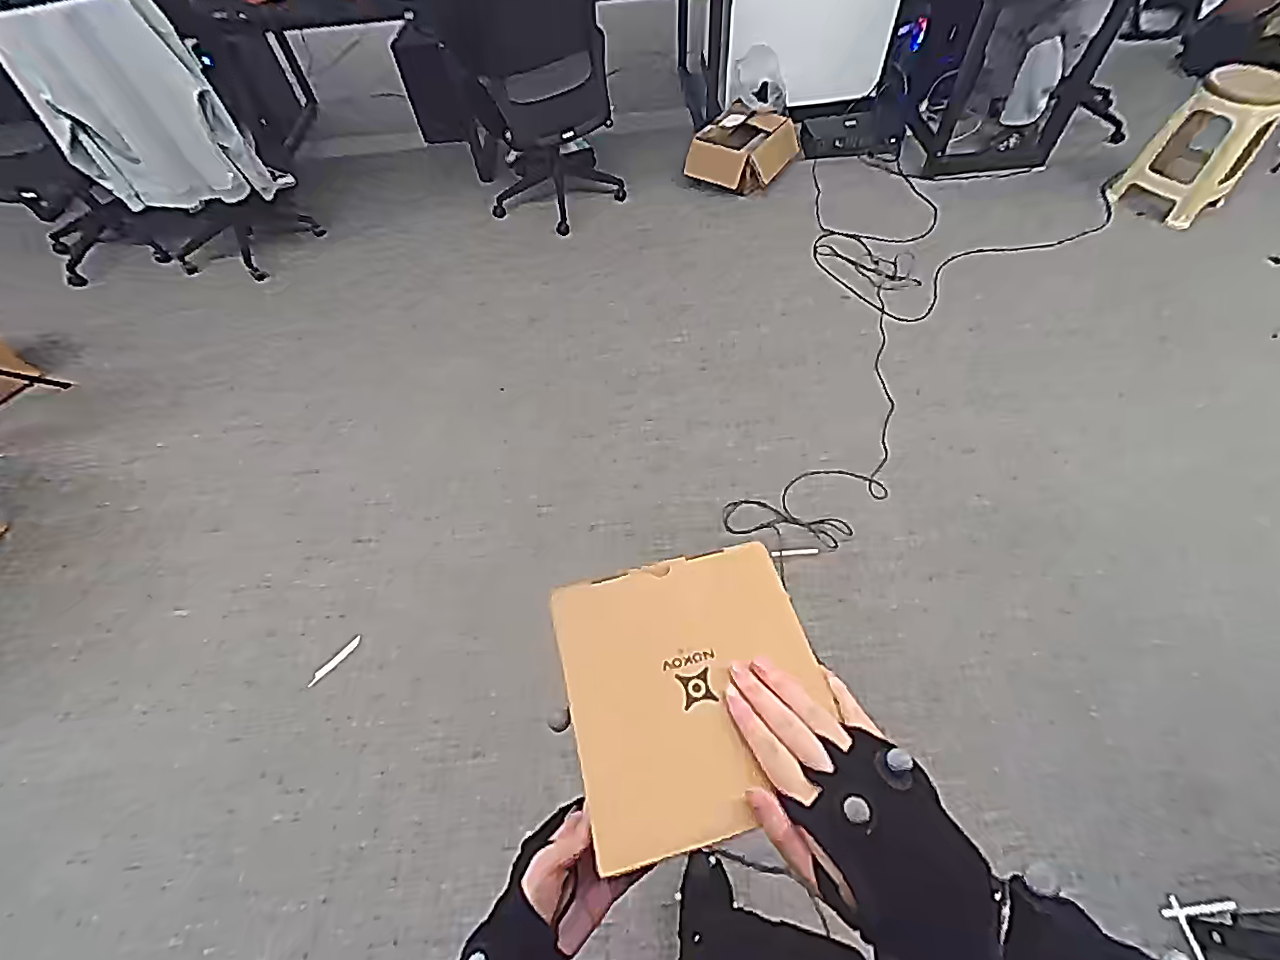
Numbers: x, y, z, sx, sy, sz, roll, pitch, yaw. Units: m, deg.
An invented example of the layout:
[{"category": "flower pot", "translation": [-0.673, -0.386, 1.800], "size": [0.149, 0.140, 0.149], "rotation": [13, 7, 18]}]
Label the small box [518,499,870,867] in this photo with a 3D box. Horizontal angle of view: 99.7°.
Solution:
[{"category": "small box", "translation": [0.035, 0.139, 0.395], "size": [0.179, 0.176, 0.168], "rotation": [-27, 38, 3]}]
